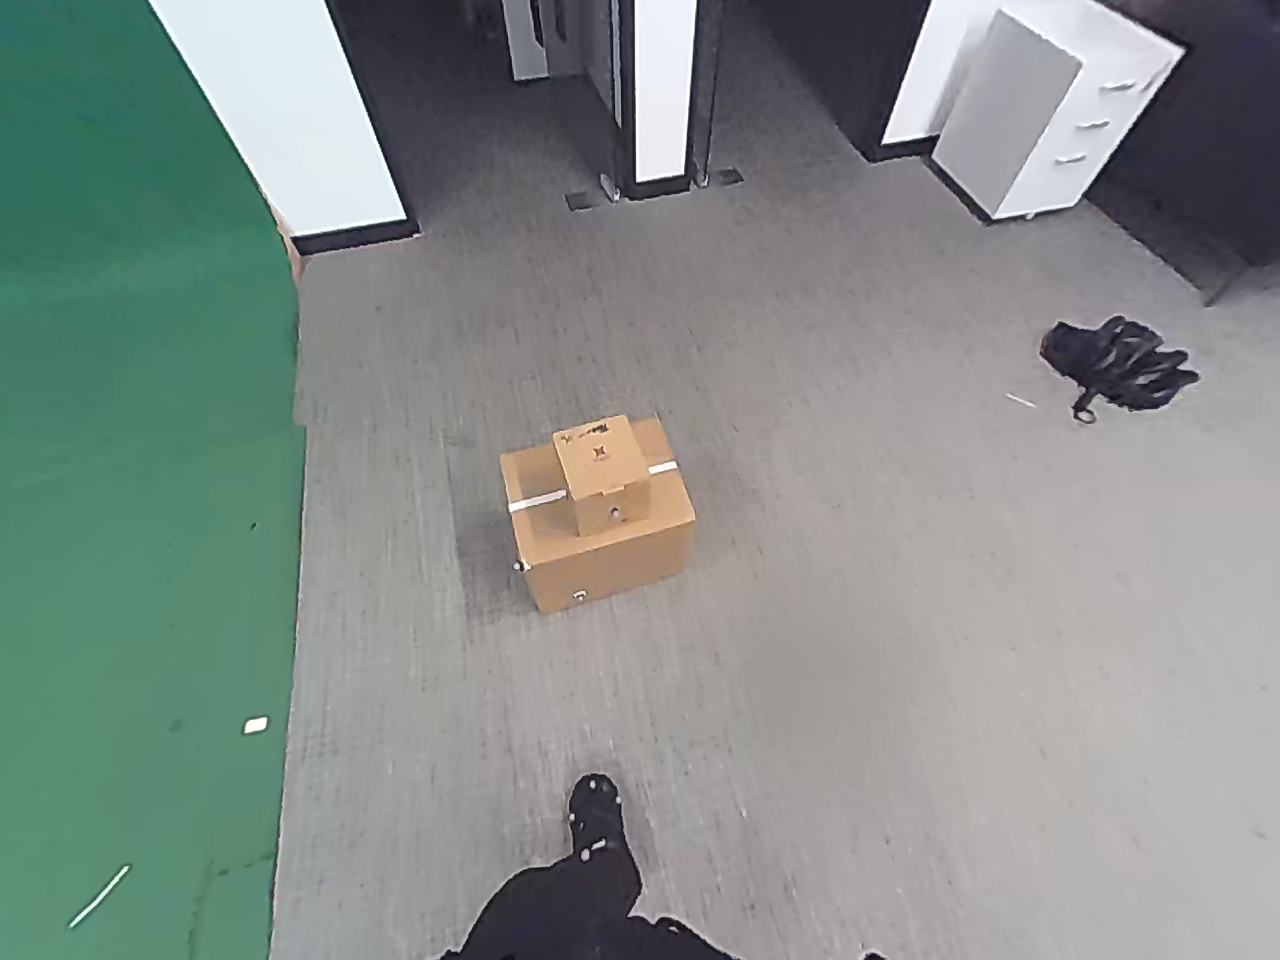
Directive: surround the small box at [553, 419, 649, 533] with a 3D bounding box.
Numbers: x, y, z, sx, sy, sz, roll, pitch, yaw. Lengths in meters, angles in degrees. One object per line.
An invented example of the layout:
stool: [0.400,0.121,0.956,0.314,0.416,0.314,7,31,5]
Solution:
small box: [-0.081,-0.001,1.183,0.168,0.176,0.179,-16,60,-10]
